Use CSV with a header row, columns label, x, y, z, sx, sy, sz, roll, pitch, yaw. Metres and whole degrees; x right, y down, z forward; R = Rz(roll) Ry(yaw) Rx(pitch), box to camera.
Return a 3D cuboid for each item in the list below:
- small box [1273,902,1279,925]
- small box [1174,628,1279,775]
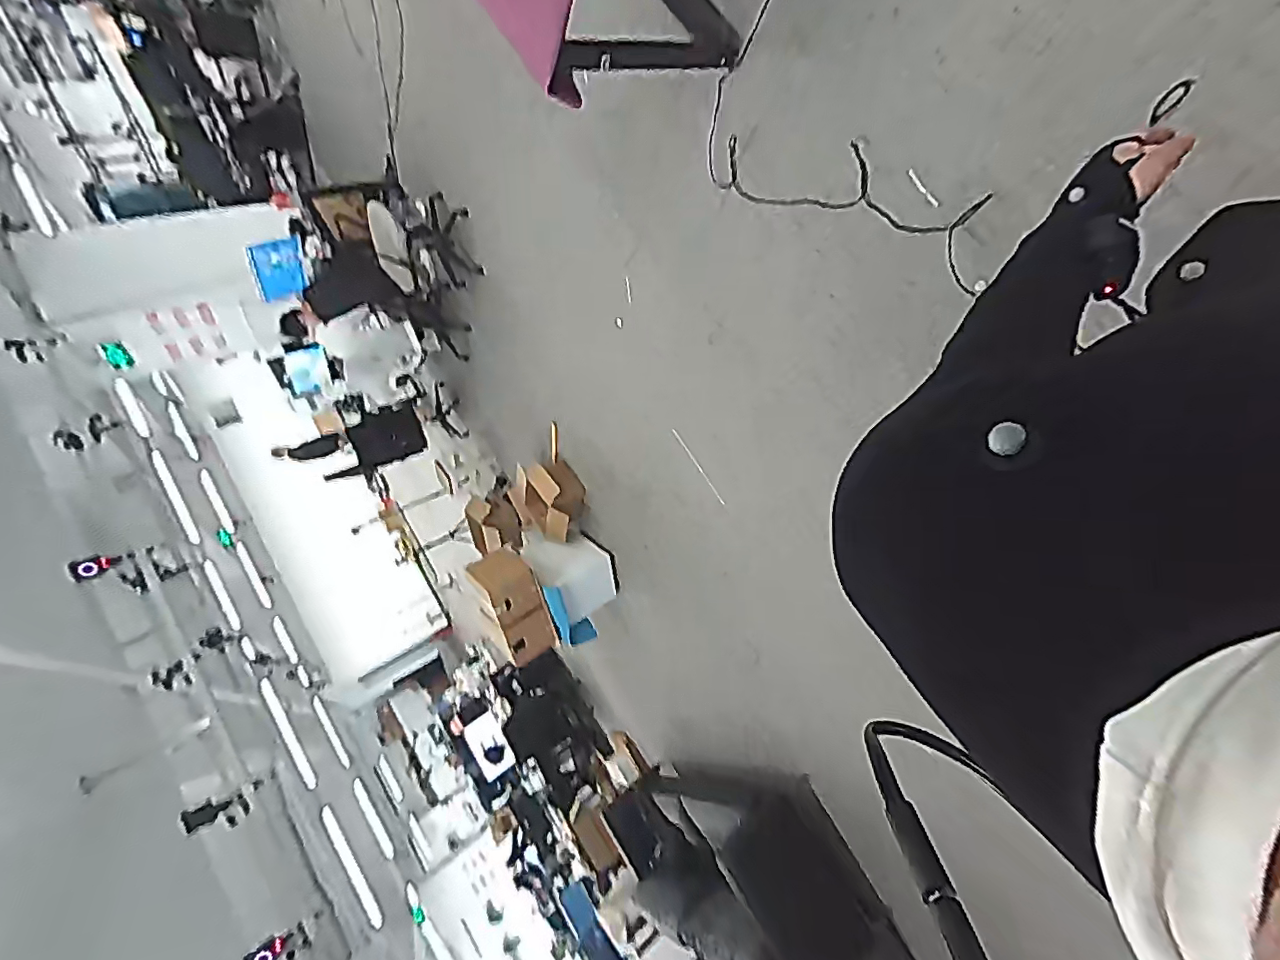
label,x,y,z,sx,sy,sz,roll,pitch,yaw
small box,1.086,0.657,0.778,0.168,0.176,0.179,61,148,5
small box,1.061,0.363,0.897,0.168,0.176,0.179,57,148,7
